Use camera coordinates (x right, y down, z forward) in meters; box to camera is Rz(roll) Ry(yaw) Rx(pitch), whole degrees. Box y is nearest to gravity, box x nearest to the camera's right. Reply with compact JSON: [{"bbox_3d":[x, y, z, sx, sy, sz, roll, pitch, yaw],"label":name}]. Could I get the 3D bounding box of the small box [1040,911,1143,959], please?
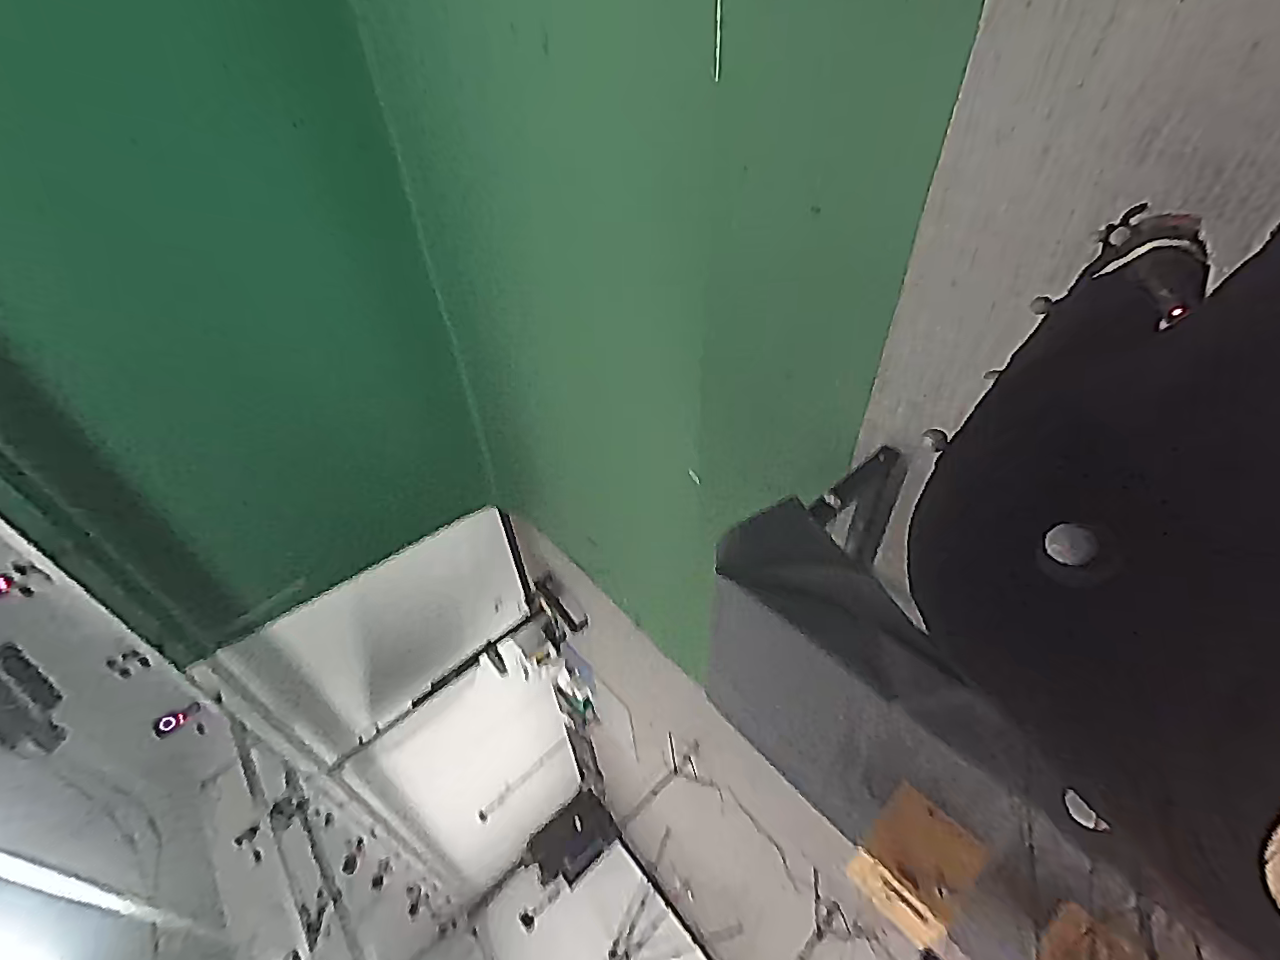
[{"bbox_3d":[0.710,0.832,0.835,0.168,0.176,0.179,26,137,45],"label":"small box"}]
